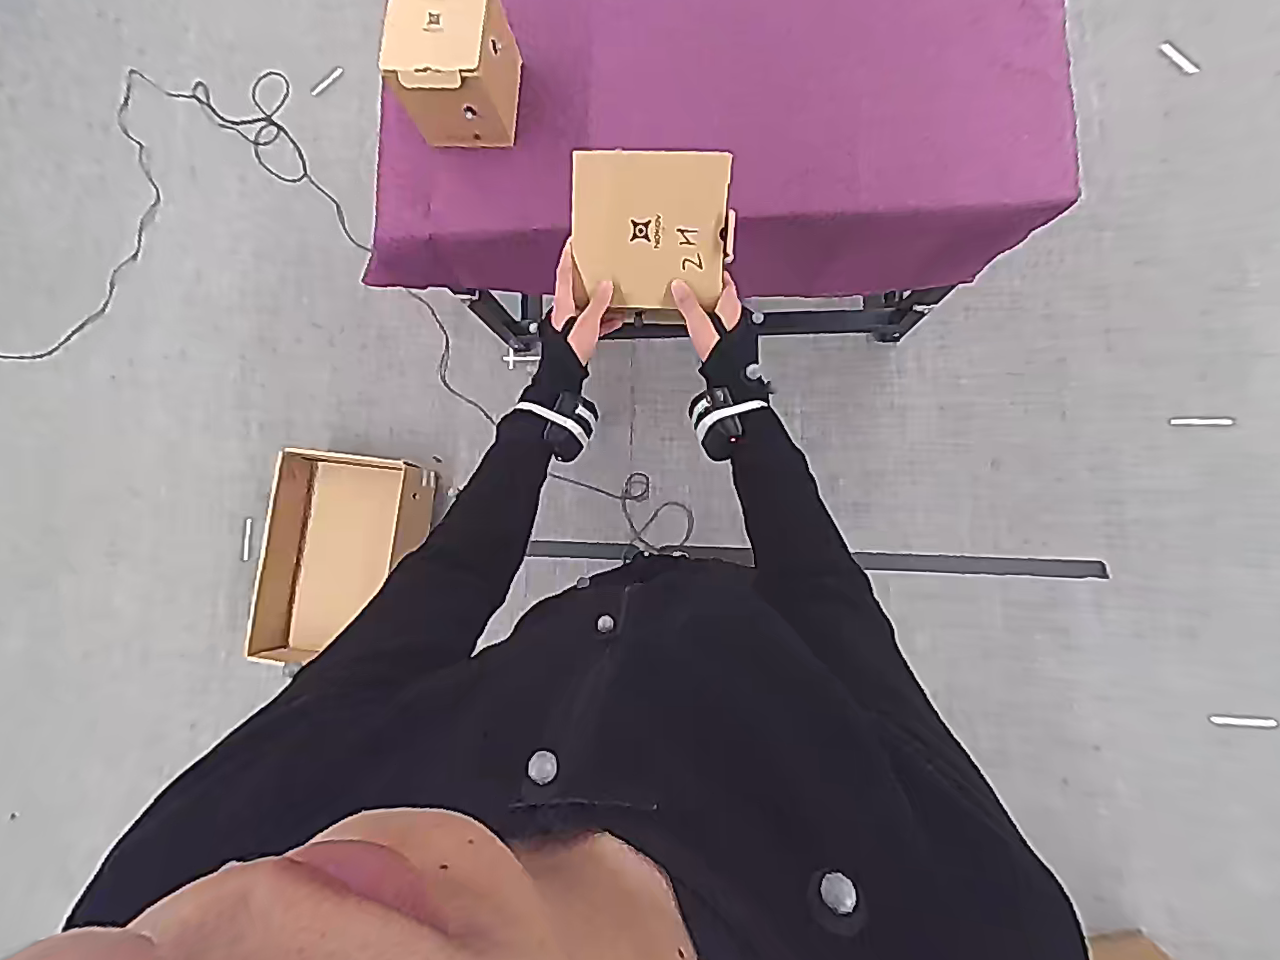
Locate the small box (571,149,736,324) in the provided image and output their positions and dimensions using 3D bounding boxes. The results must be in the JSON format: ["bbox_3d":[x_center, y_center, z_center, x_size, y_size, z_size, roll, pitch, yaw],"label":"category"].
[{"bbox_3d":[0.019,-0.289,0.676,0.179,0.176,0.168,4,101,4],"label":"small box"}]

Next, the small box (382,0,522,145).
[{"bbox_3d":[-0.312,-0.711,0.932,0.168,0.176,0.179,5,85,6],"label":"small box"}]
